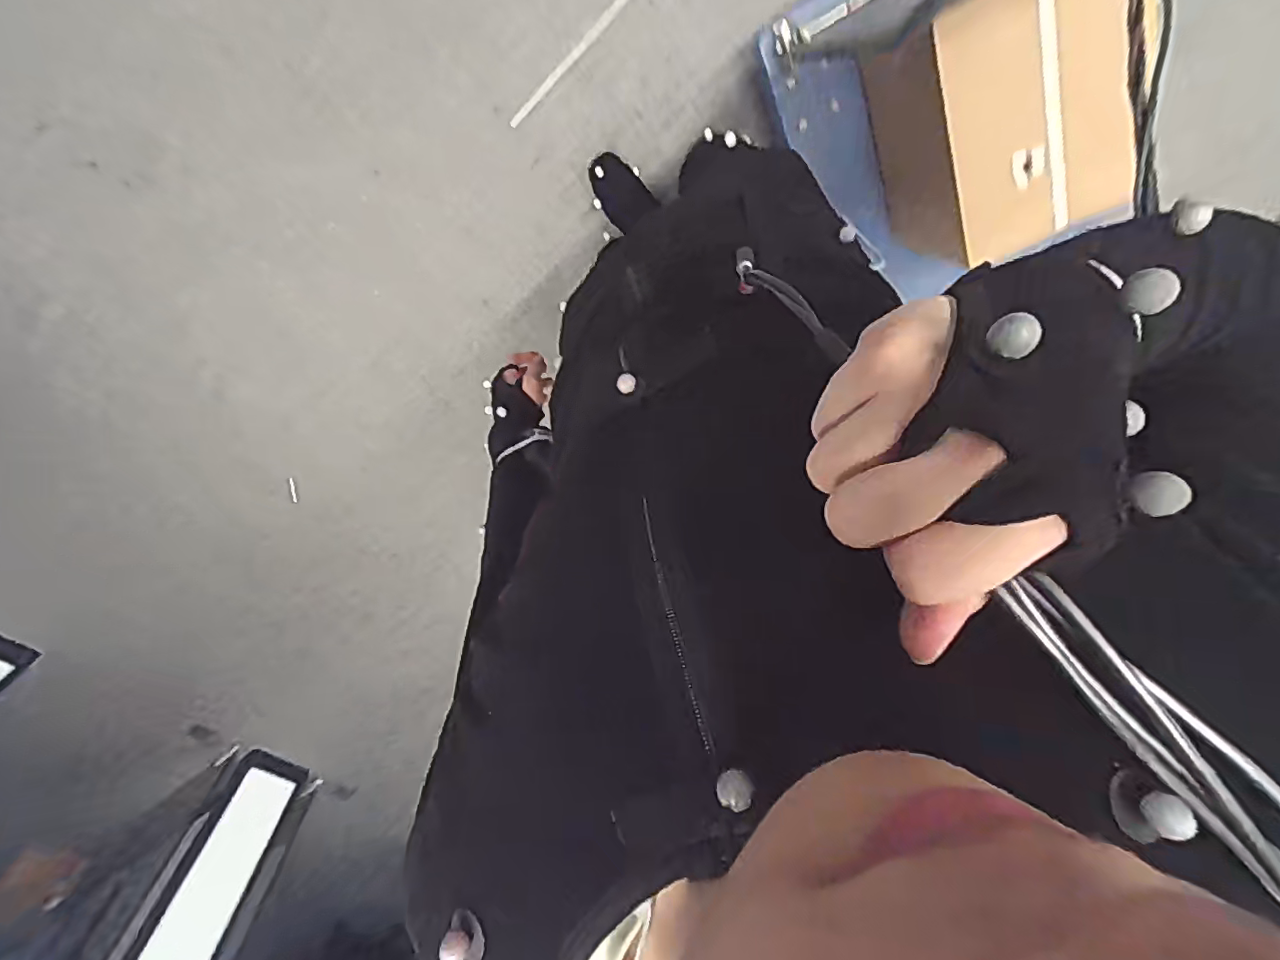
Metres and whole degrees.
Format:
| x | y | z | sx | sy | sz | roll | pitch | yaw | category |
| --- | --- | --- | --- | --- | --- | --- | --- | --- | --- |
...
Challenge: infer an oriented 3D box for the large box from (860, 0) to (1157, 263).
| x | y | z | sx | sy | sz | roll | pitch | yaw | category |
| --- | --- | --- | --- | --- | --- | --- | --- | --- | --- |
| 0.654 | -0.684 | 0.991 | 0.320 | 0.320 | 0.408 | -24 | 121 | 13 | large box |
